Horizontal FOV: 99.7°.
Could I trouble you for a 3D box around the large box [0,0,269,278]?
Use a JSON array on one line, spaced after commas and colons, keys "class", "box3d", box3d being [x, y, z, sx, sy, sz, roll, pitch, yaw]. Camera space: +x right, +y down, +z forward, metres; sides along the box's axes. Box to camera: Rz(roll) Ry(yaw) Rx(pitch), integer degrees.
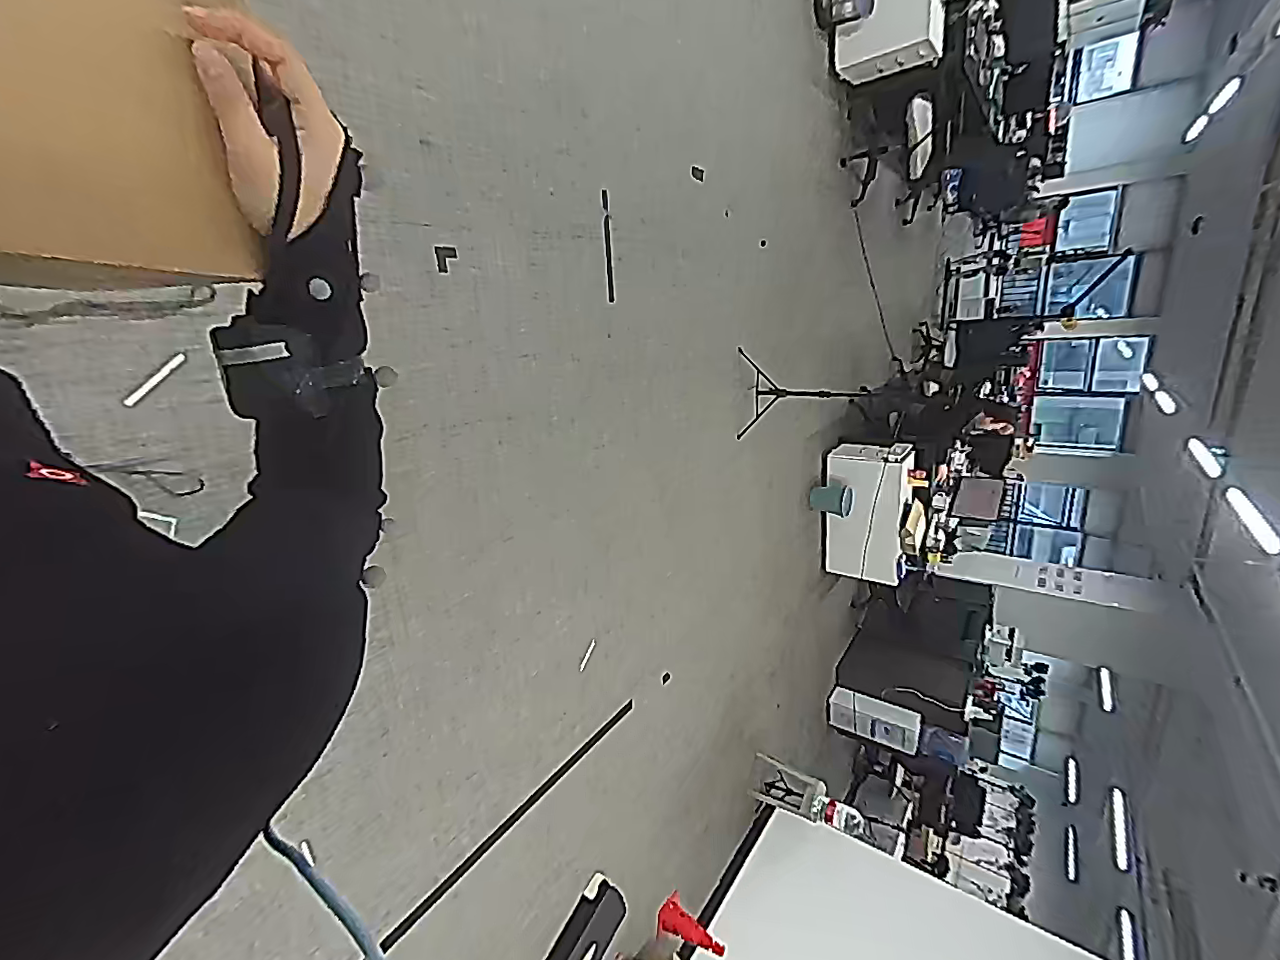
[{"class": "large box", "box3d": [-0.458, -0.265, 0.210, 0.408, 0.320, 0.320, -21, 117, -57]}]
